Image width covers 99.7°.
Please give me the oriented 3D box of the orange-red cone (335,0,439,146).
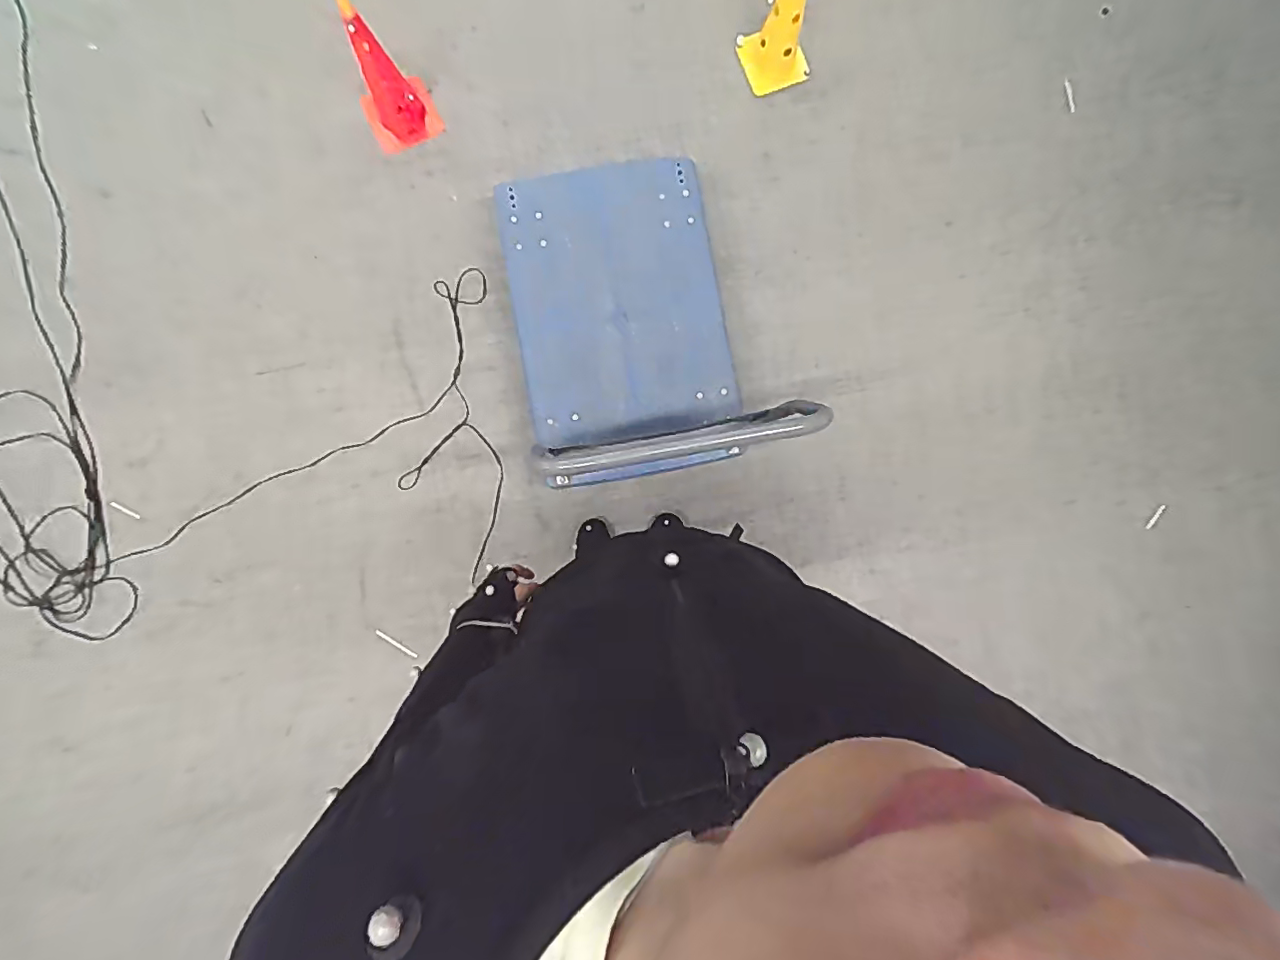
[{"bbox_3d":[-0.733,-1.149,1.493,0.199,0.360,0.198,-25,88,-2],"label":"orange-red cone"}]
